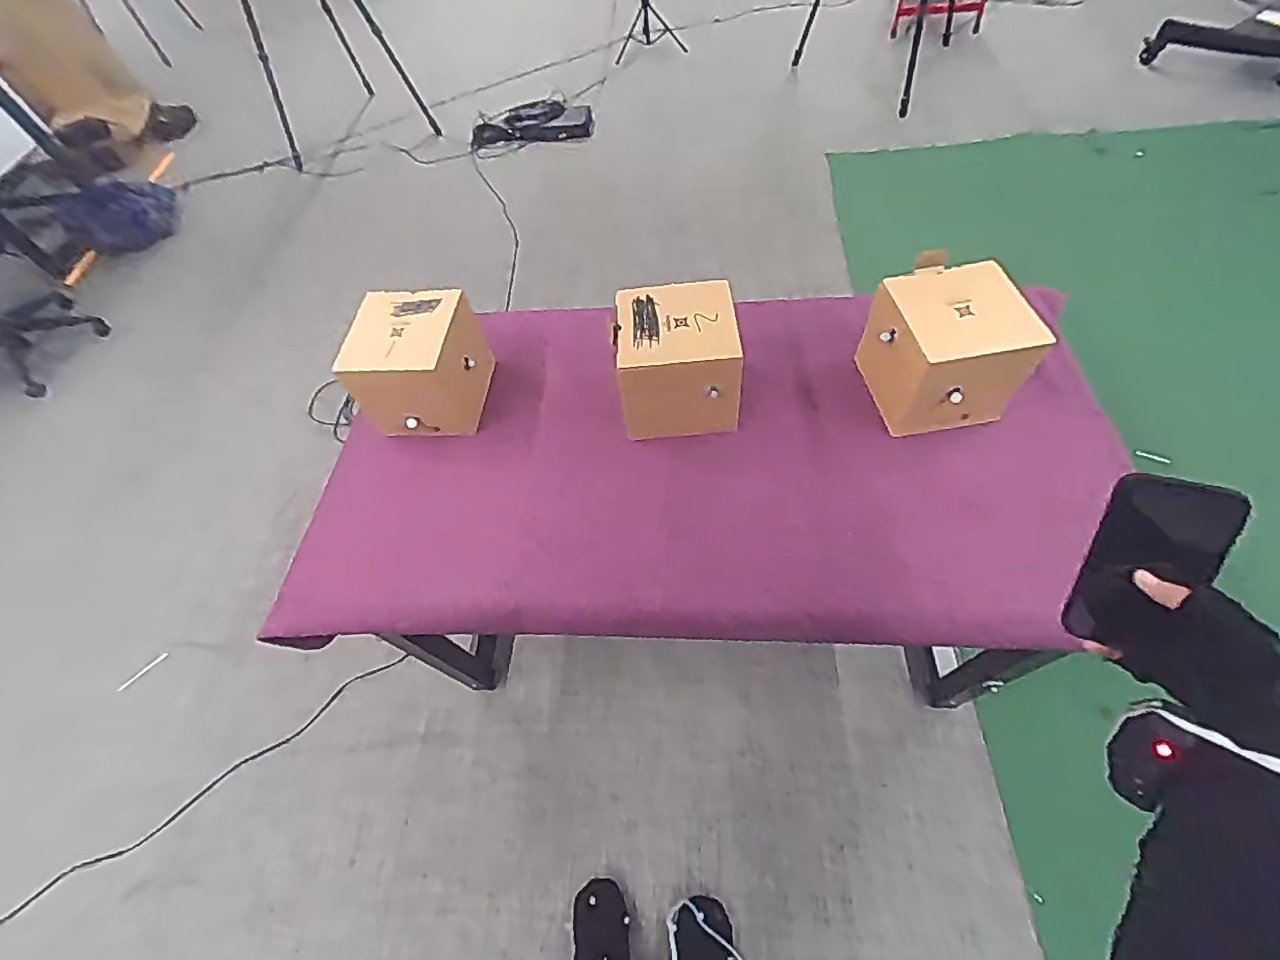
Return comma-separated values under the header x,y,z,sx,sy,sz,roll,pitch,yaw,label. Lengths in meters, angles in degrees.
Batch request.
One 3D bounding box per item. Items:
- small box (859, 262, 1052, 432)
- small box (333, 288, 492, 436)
x,y,z,sx,sy,sz,roll,pitch,yaw,label
0.448,-0.187,0.804,0.168,0.176,0.179,-9,57,2,small box
-0.361,-0.194,0.898,0.168,0.176,0.179,1,60,7,small box
